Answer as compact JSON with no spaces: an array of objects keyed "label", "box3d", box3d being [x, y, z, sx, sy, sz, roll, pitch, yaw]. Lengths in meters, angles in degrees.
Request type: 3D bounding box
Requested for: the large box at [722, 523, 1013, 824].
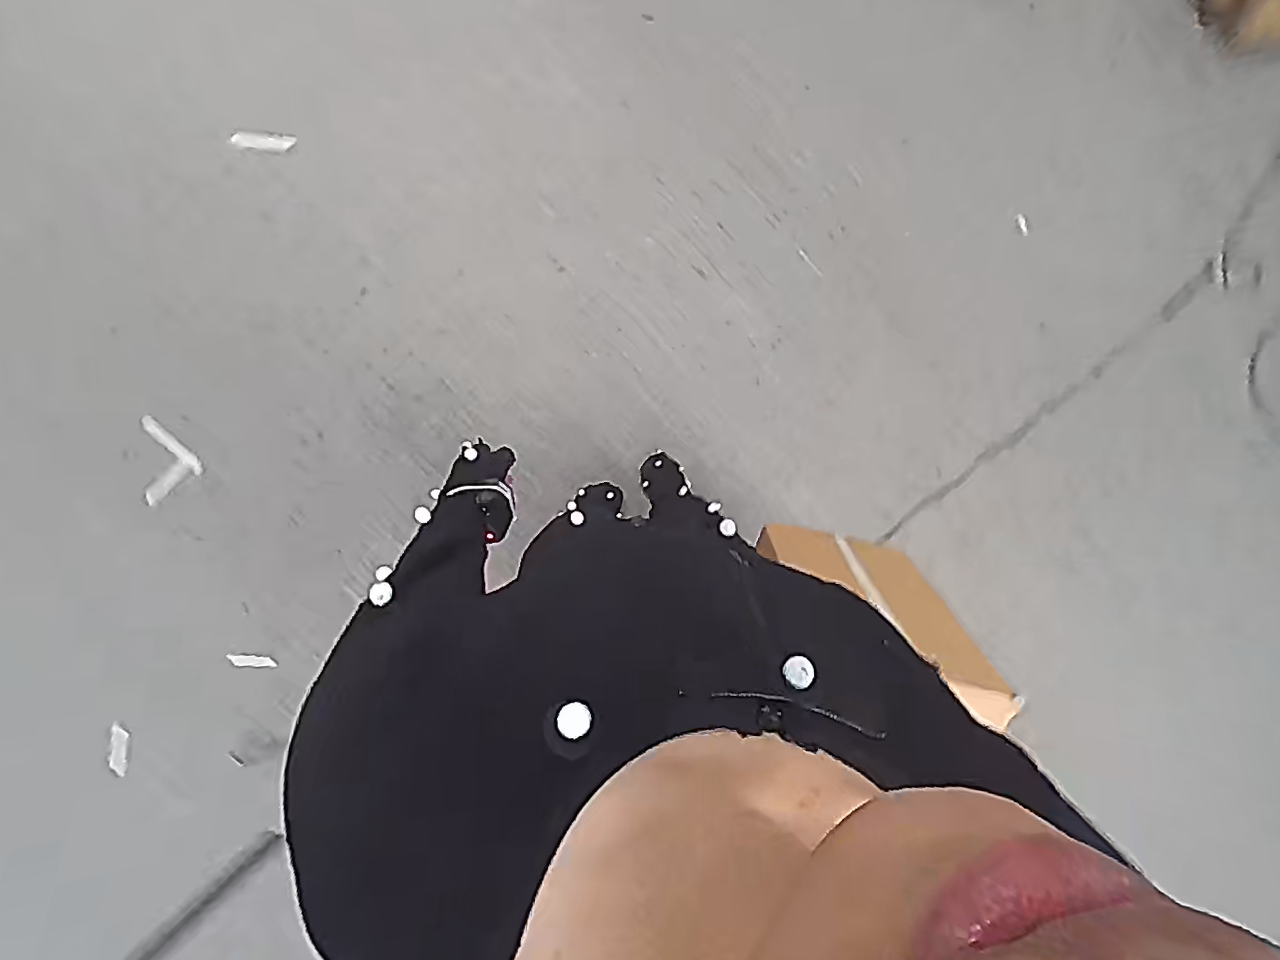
[{"label":"large box","box3d":[0.364,0.335,1.013,0.320,0.408,0.320,12,114,-4]}]
